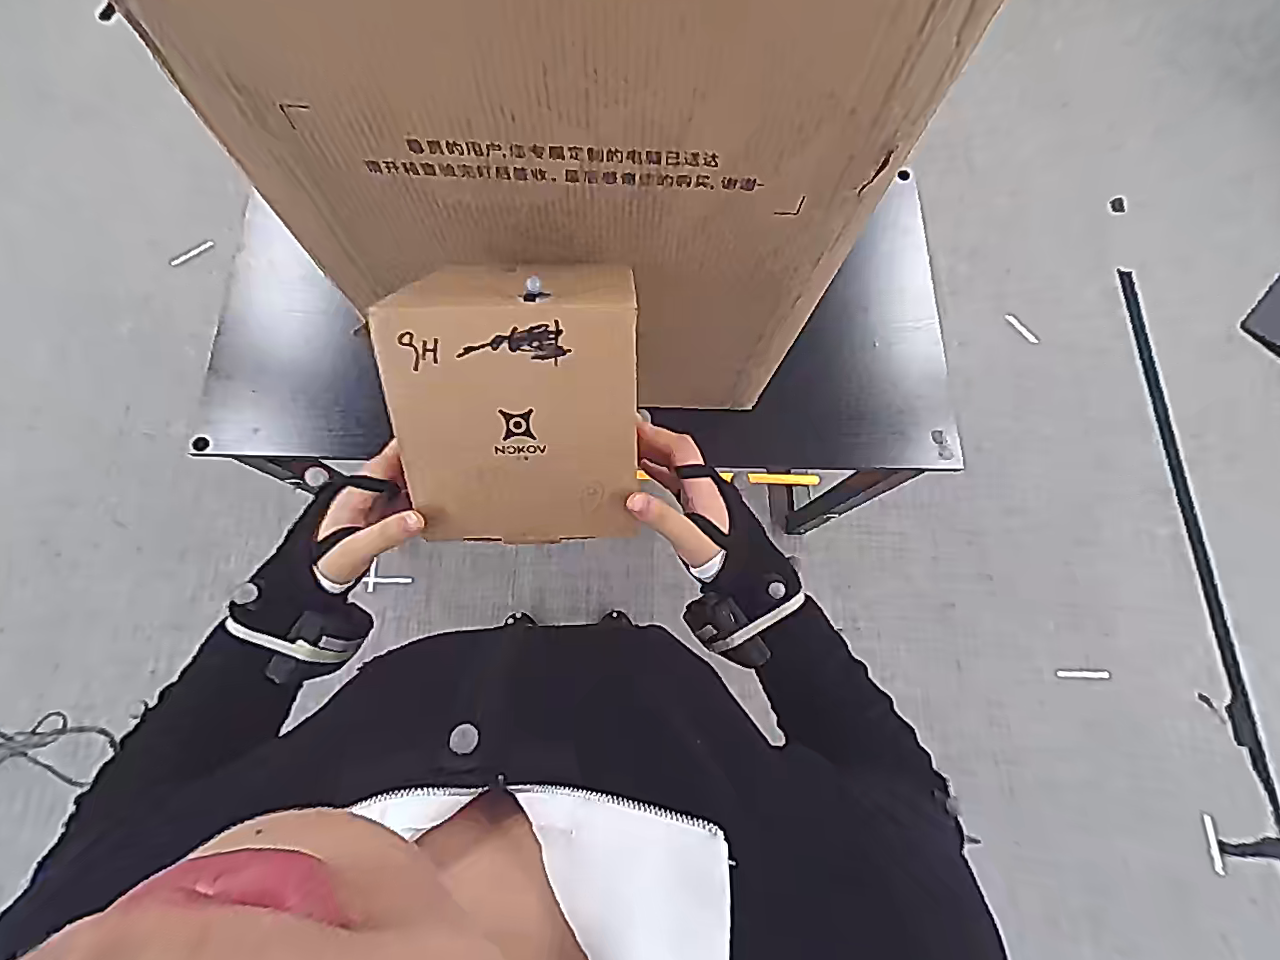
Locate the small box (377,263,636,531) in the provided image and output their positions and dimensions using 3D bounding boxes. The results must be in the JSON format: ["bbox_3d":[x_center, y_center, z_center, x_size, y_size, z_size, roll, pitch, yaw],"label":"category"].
[{"bbox_3d":[-0.087,-0.076,0.450,0.168,0.176,0.179,-1,118,-2],"label":"small box"}]
